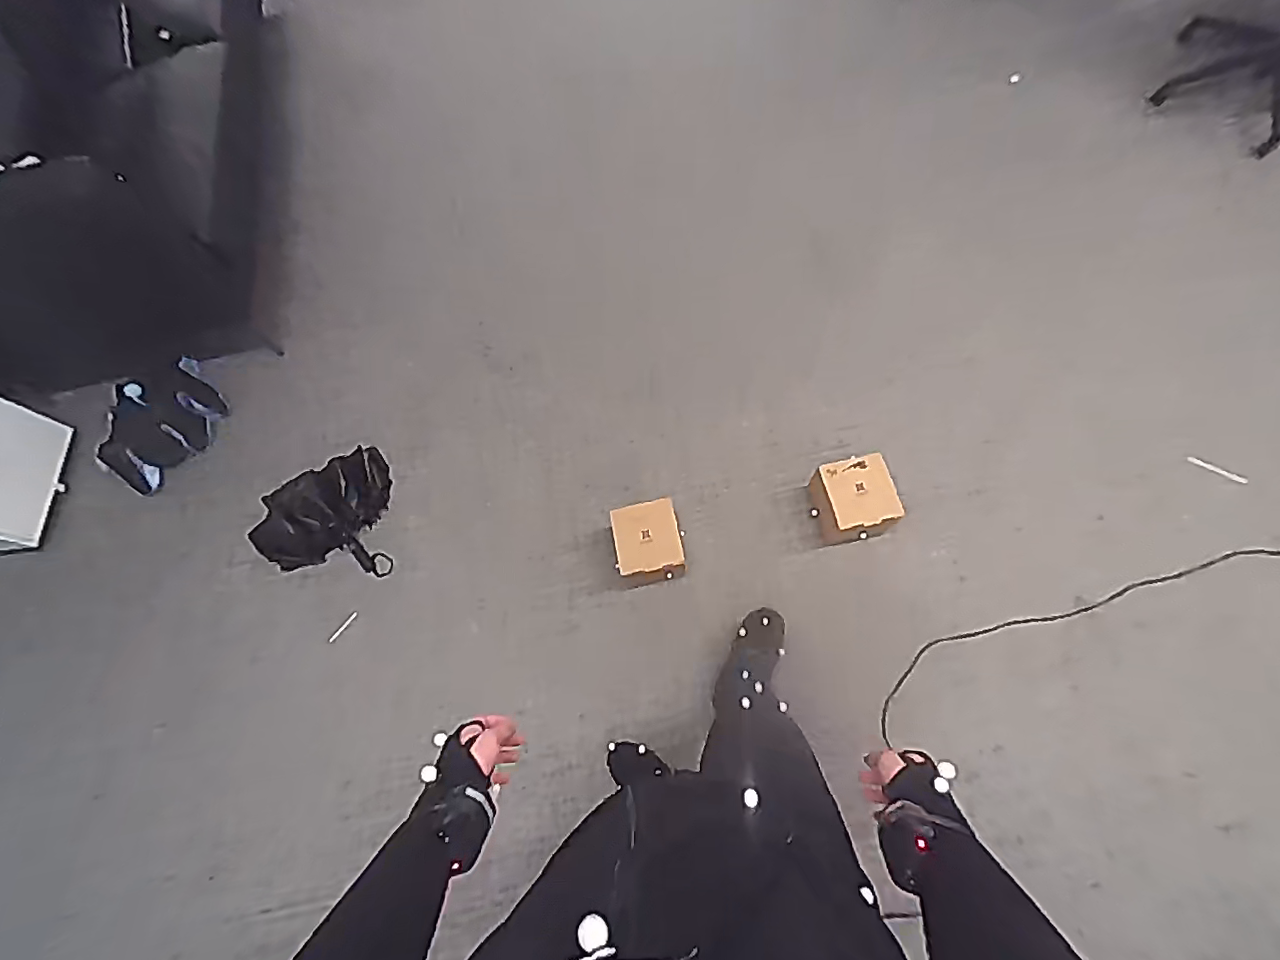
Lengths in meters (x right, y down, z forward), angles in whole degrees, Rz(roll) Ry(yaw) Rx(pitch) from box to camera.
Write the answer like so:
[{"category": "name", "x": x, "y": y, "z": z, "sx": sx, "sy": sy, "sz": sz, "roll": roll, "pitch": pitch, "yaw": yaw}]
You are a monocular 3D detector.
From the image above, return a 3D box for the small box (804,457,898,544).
[{"category": "small box", "x": 0.553, "y": 0.063, "z": 1.439, "sx": 0.168, "sy": 0.176, "sz": 0.179, "roll": -12, "pitch": 69, "yaw": 1}]

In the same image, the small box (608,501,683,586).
[{"category": "small box", "x": 0.019, "y": 0.178, "z": 1.445, "sx": 0.168, "sy": 0.176, "sz": 0.179, "roll": -13, "pitch": 67, "yaw": -1}]
